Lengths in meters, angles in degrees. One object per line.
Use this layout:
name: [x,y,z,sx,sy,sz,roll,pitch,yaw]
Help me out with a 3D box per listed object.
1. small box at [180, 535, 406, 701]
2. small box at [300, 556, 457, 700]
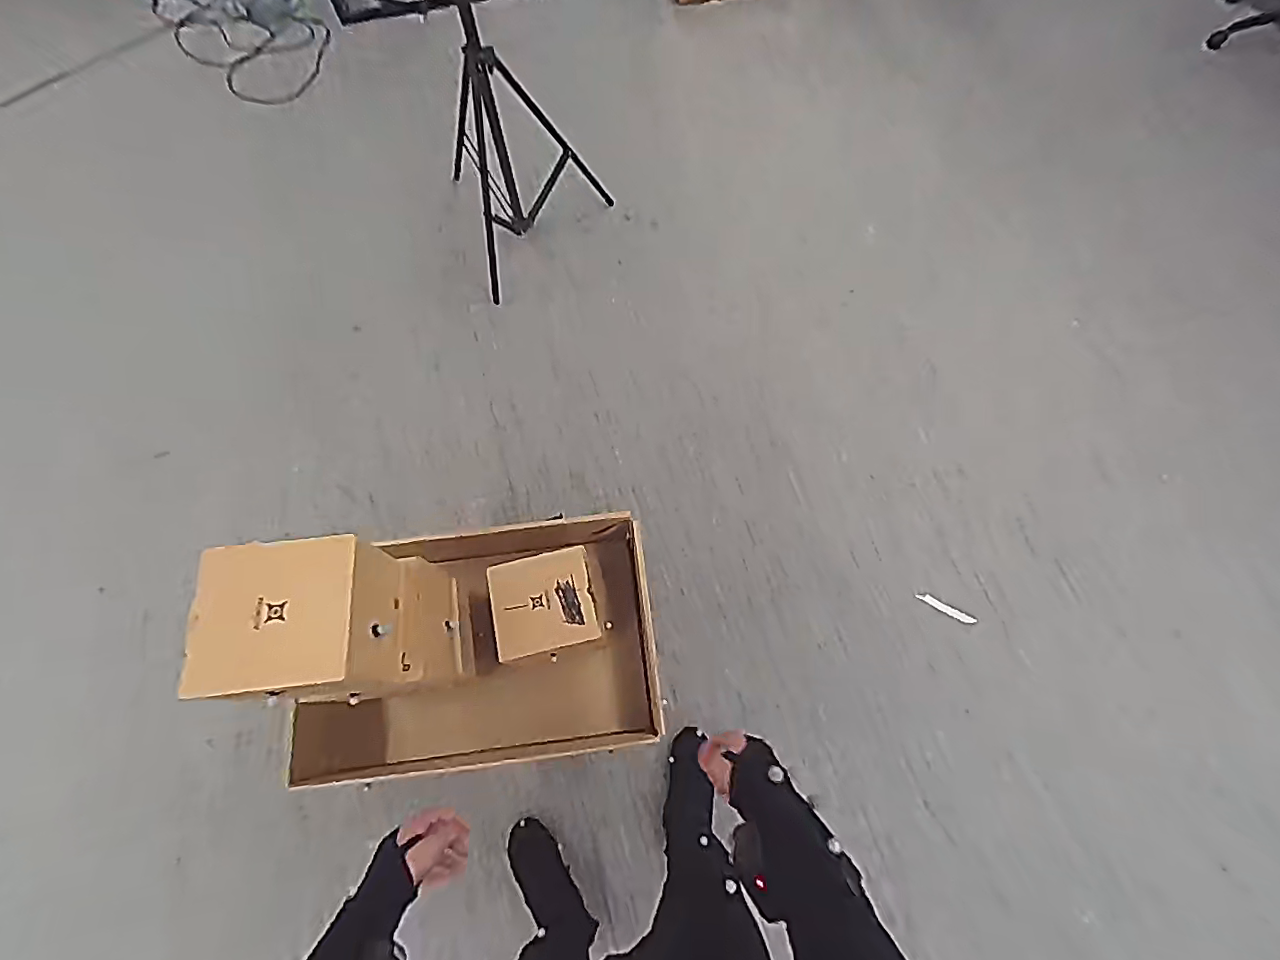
small box: [-0.408,0.175,0.673,0.179,0.176,0.168,-6,69,-4]
small box: [-0.387,0.232,0.827,0.168,0.176,0.179,-9,69,-5]
